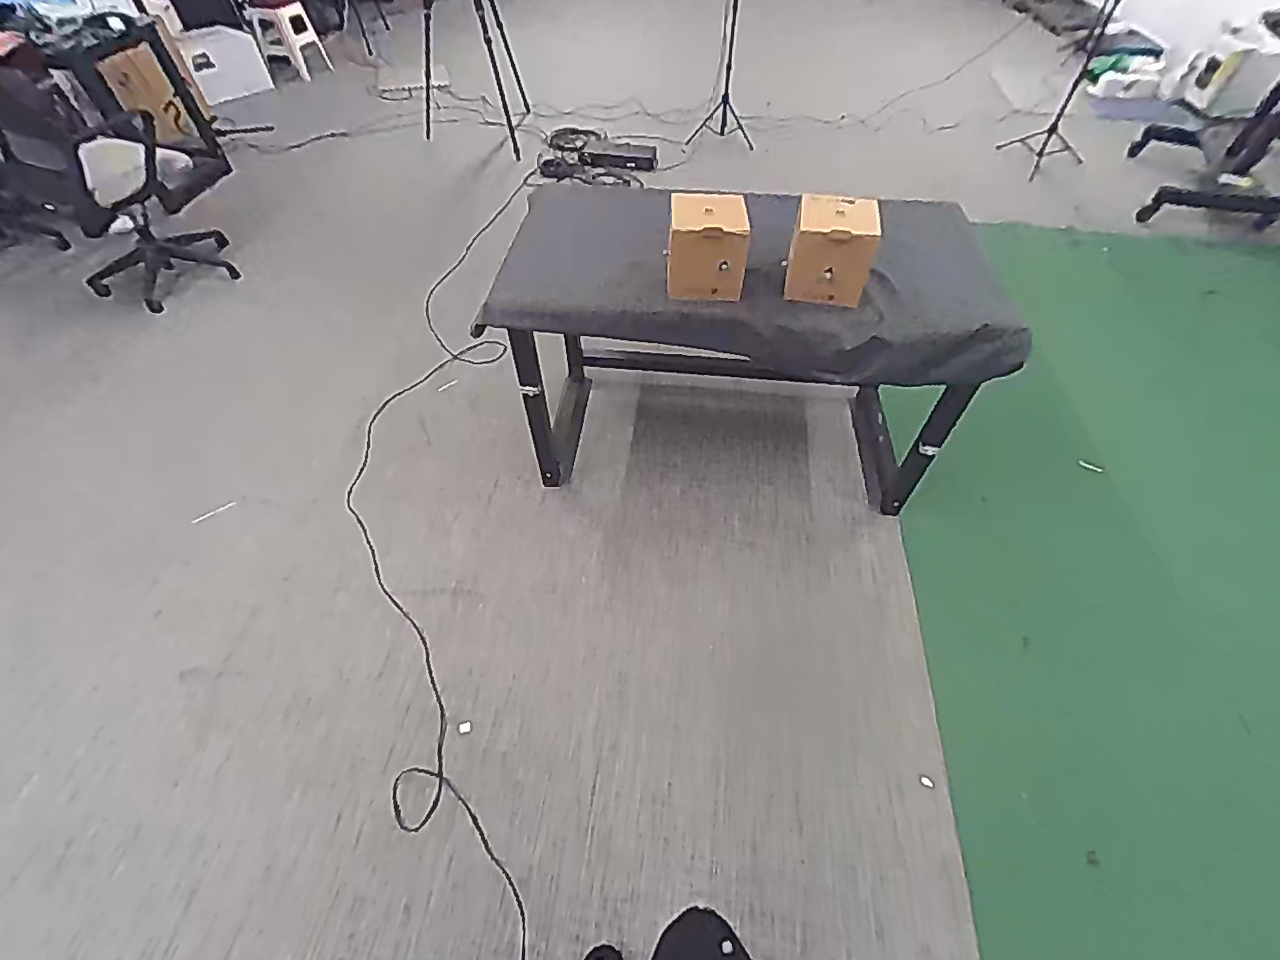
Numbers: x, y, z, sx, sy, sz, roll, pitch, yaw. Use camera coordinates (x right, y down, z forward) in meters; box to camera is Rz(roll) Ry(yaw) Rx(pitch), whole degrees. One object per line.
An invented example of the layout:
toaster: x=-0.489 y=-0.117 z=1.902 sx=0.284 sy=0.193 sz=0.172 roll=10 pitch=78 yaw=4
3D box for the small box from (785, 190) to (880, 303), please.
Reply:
small box: x=0.430 y=-0.525 z=1.221 sx=0.168 sy=0.176 sz=0.179 roll=10 pitch=53 yaw=8

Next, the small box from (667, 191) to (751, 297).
small box: x=0.150 y=-0.535 z=1.230 sx=0.168 sy=0.176 sz=0.179 roll=2 pitch=50 yaw=-1
